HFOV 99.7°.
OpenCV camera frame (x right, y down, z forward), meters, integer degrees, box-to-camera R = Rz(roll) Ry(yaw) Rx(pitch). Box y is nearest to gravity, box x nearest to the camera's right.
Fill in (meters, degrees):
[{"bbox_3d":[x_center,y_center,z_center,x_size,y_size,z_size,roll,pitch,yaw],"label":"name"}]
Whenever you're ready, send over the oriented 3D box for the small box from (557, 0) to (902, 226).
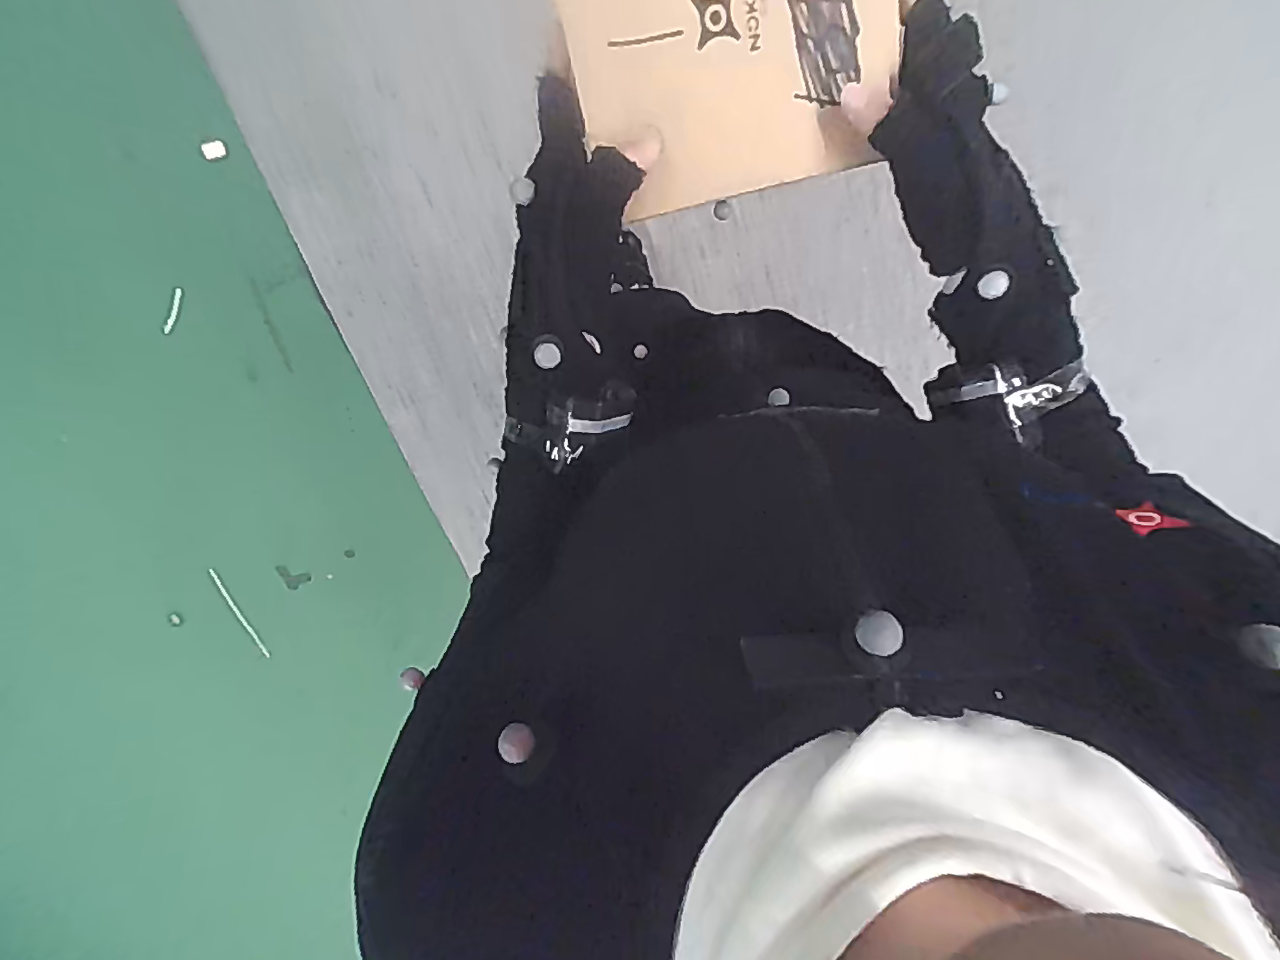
[{"bbox_3d":[0.045,-0.282,0.354,0.179,0.176,0.168,-15,118,6],"label":"small box"}]
